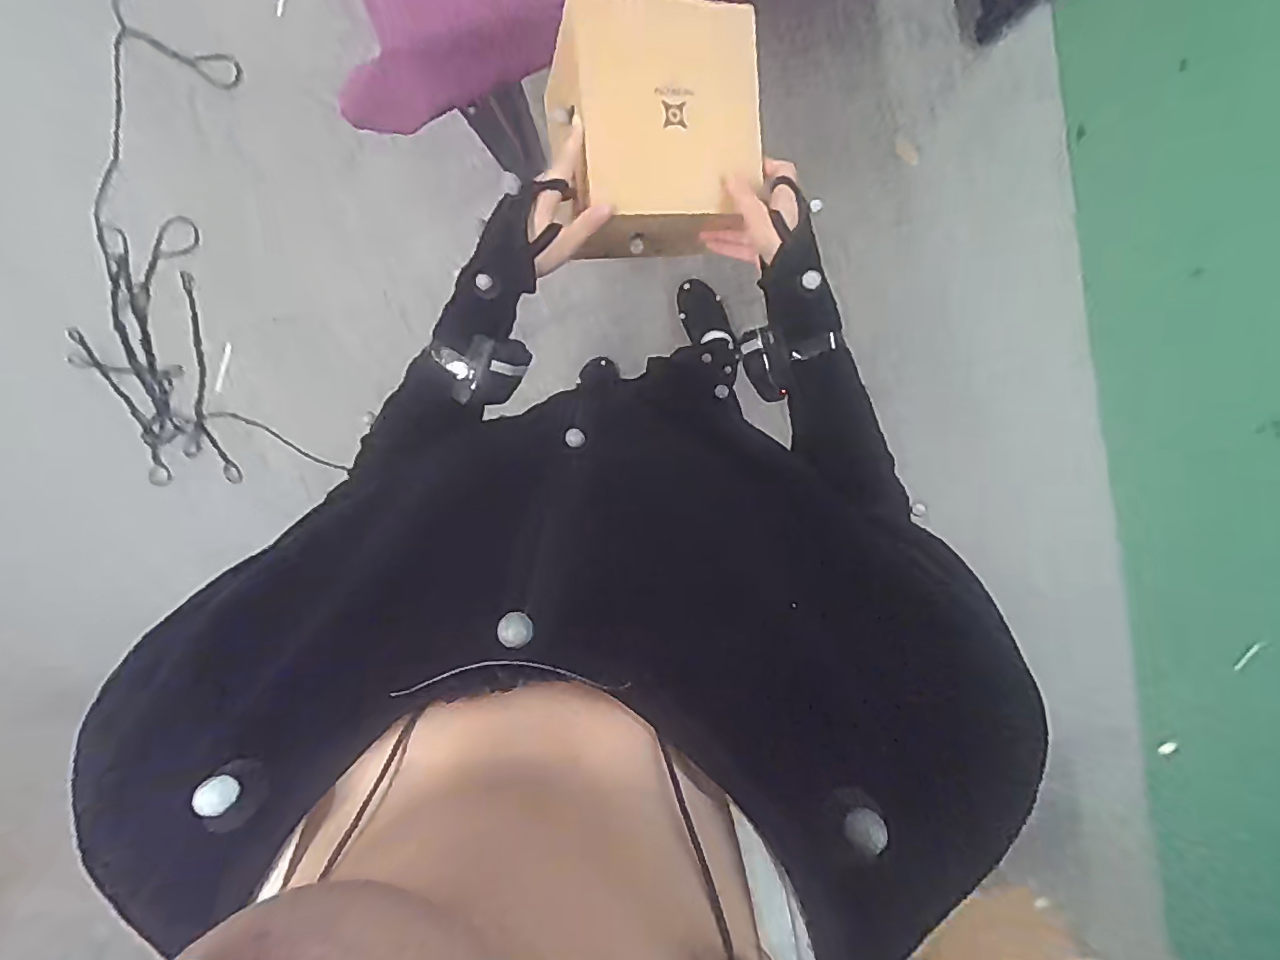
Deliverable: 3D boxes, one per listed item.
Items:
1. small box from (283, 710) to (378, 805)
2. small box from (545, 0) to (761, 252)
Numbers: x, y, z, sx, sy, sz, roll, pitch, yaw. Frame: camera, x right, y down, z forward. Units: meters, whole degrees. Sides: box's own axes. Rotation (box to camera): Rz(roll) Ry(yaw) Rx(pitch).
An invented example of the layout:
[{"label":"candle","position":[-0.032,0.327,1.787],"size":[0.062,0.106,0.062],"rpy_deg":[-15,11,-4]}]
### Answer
[{"label":"small box","position":[-0.919,0.812,1.605],"size":[0.168,0.176,0.179],"rpy_deg":[-18,104,4]},{"label":"small box","position":[0.004,-0.335,0.537],"size":[0.168,0.176,0.179],"rpy_deg":[-9,100,-15]}]
